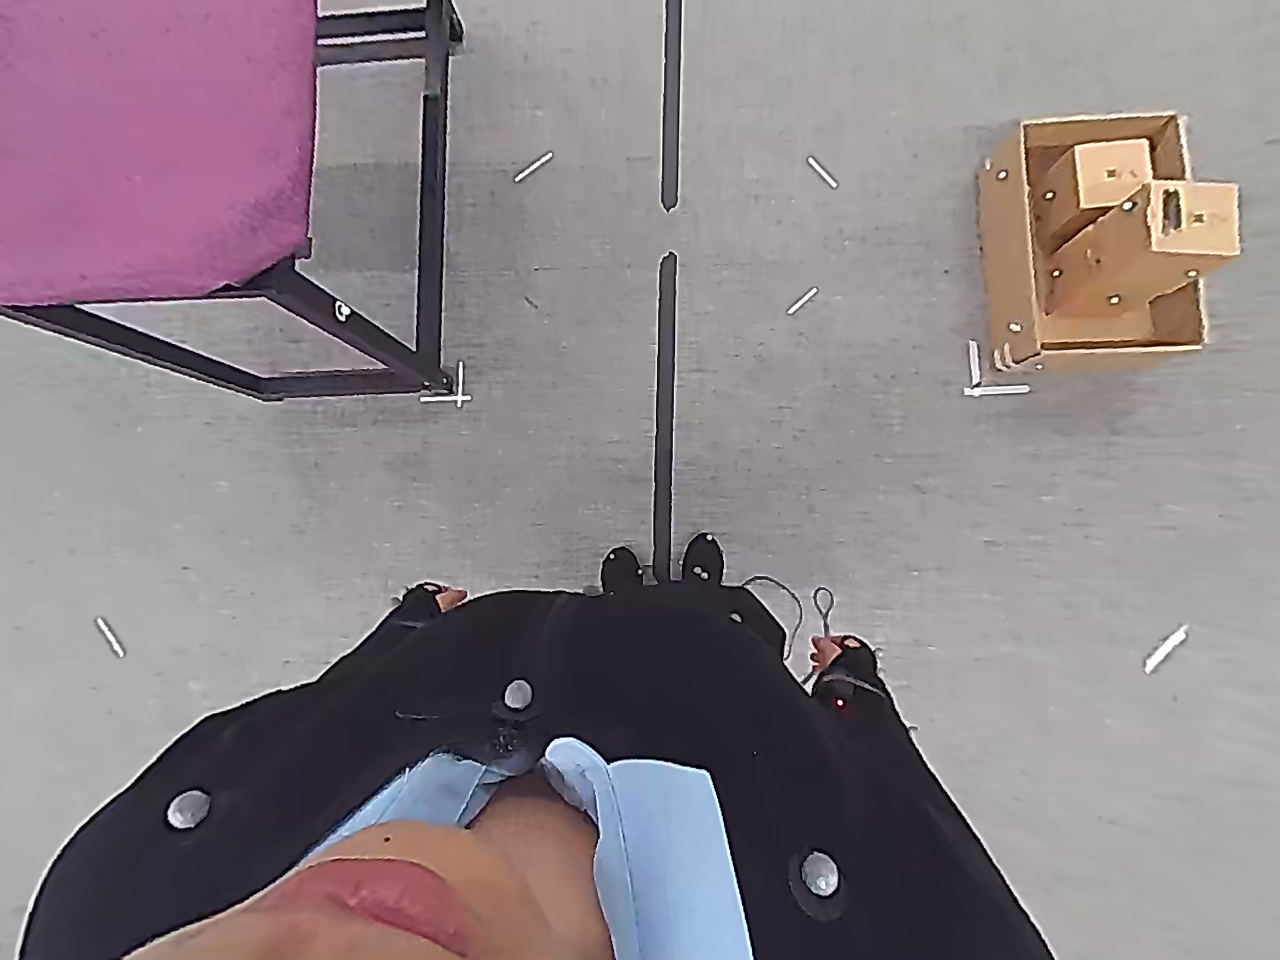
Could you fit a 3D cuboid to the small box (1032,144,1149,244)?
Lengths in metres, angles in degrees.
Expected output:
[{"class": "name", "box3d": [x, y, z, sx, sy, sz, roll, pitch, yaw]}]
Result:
[{"class": "small box", "box3d": [1.157, -0.734, 1.406, 0.179, 0.176, 0.168, -2, 86, 3]}]

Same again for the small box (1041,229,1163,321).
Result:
[{"class": "small box", "box3d": [1.178, -0.520, 1.388, 0.179, 0.176, 0.168, 4, 83, 5]}]
